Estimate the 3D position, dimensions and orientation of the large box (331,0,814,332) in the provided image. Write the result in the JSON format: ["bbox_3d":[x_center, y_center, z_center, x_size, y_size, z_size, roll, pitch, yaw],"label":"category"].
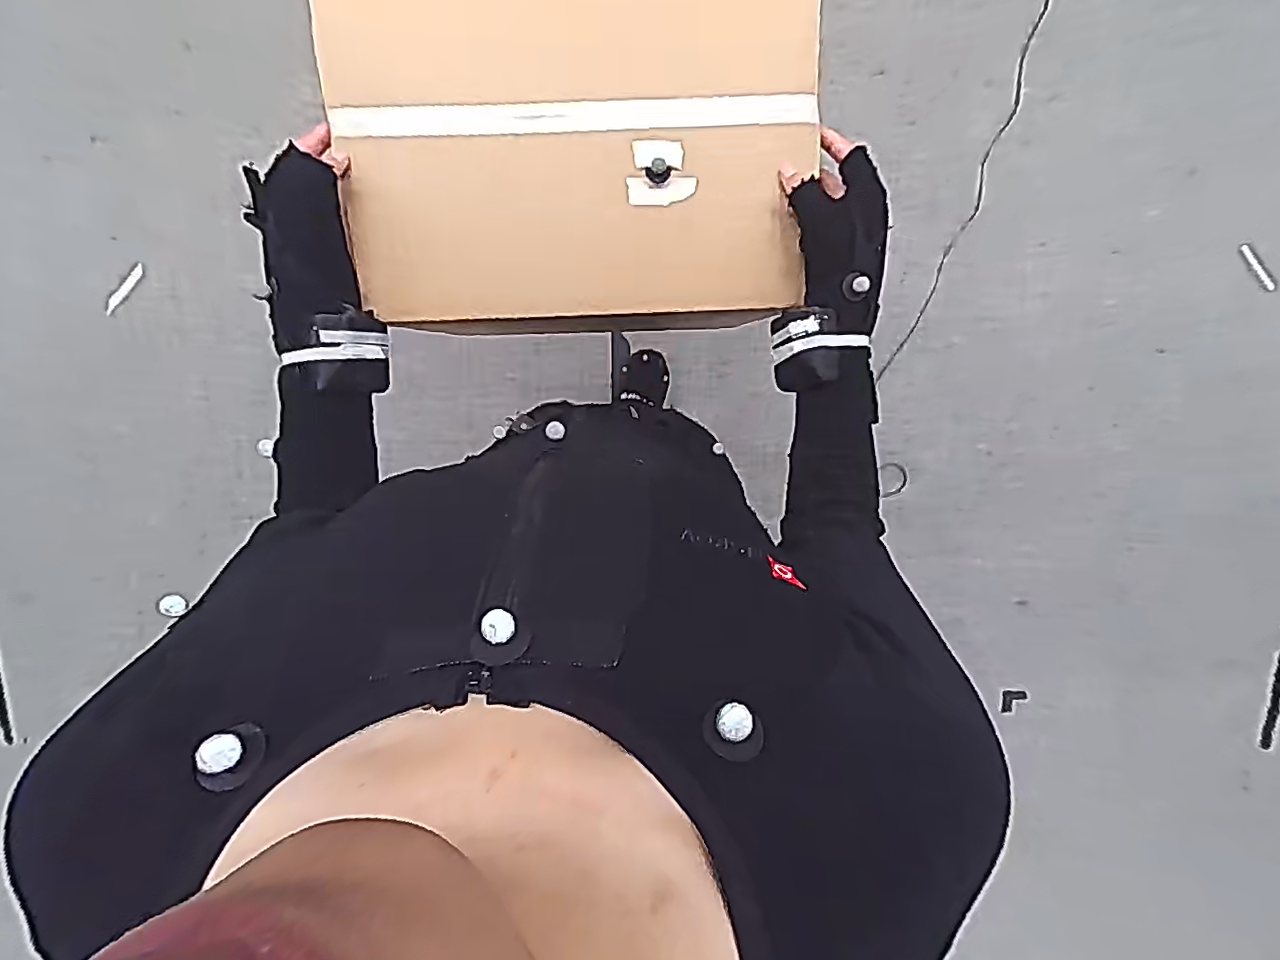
[{"bbox_3d":[-0.057,-0.344,0.607,0.408,0.320,0.320,-3,103,-2],"label":"large box"}]
